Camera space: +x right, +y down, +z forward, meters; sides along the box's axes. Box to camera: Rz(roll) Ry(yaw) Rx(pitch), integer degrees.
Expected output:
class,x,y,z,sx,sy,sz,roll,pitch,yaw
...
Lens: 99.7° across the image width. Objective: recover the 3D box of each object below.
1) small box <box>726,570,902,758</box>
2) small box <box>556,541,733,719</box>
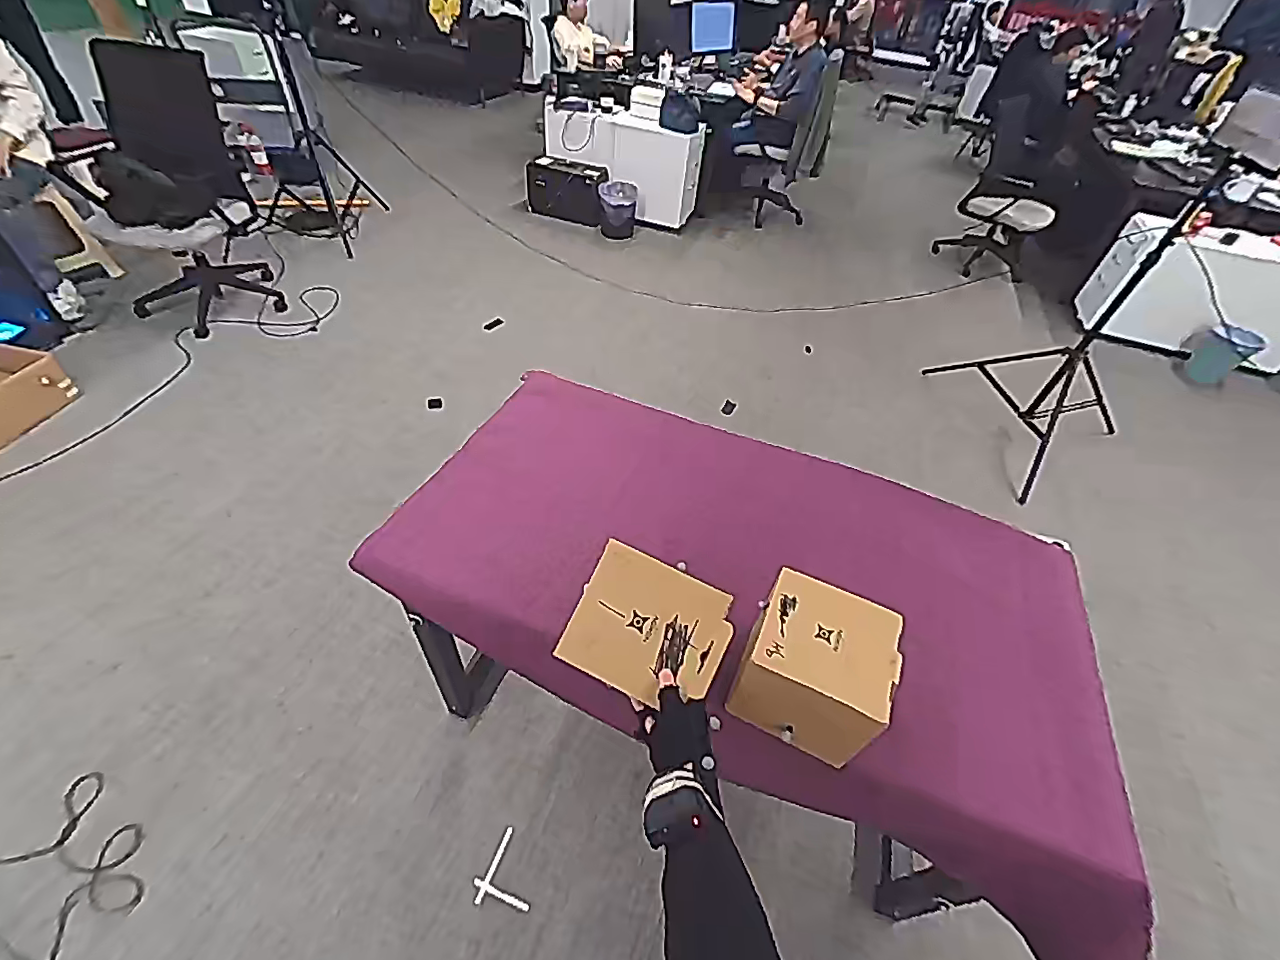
class,x,y,z,sx,sy,sz,roll,pitch,yaw
small box,0.243,0.267,0.771,0.179,0.176,0.168,22,46,14
small box,0.009,0.201,0.758,0.179,0.176,0.168,25,79,8
